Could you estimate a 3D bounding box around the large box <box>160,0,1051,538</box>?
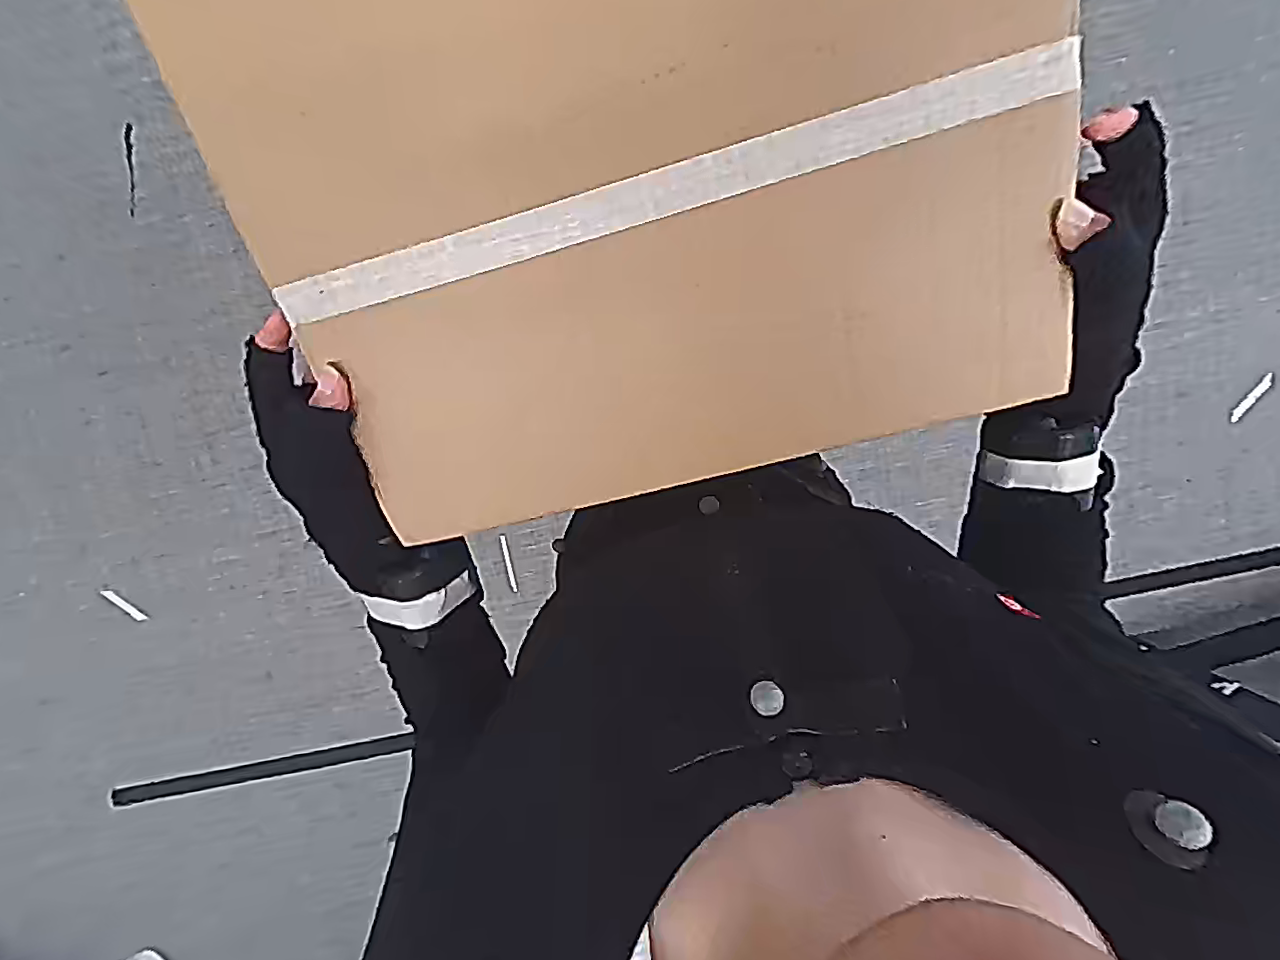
[{"bbox_3d":[0.007,-0.199,0.419,0.408,0.320,0.320,-13,111,7],"label":"large box"}]
